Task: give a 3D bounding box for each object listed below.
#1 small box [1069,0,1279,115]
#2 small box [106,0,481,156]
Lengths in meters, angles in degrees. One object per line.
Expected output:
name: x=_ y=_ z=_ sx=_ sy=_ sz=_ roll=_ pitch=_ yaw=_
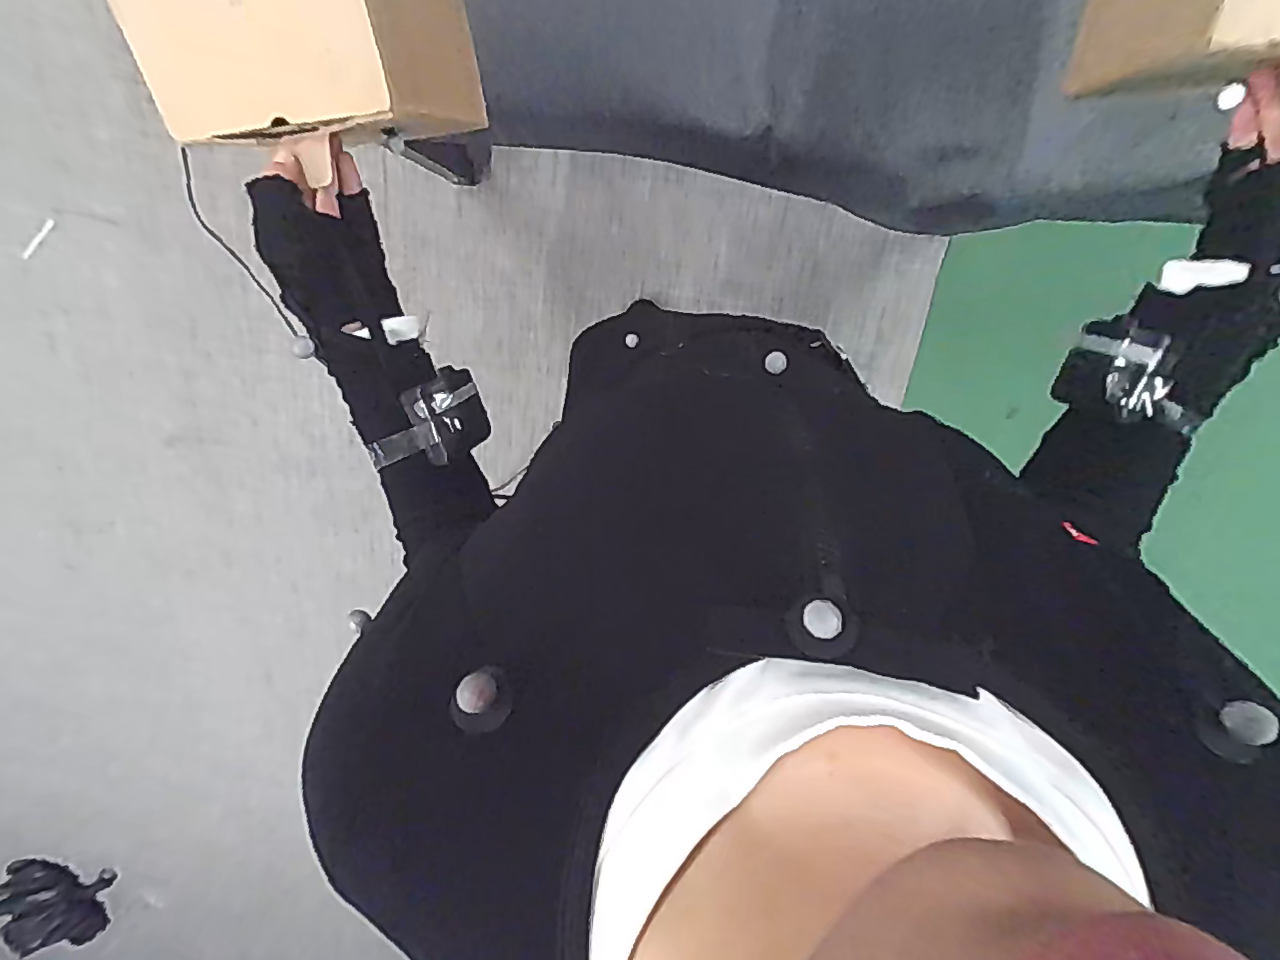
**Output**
small box: x=0.423 y=-0.345 z=0.342 sx=0.168 sy=0.176 sz=0.179 roll=5 pitch=117 yaw=7
small box: x=-0.231 y=-0.337 z=0.378 sx=0.168 sy=0.176 sz=0.179 roll=-2 pitch=119 yaw=8
